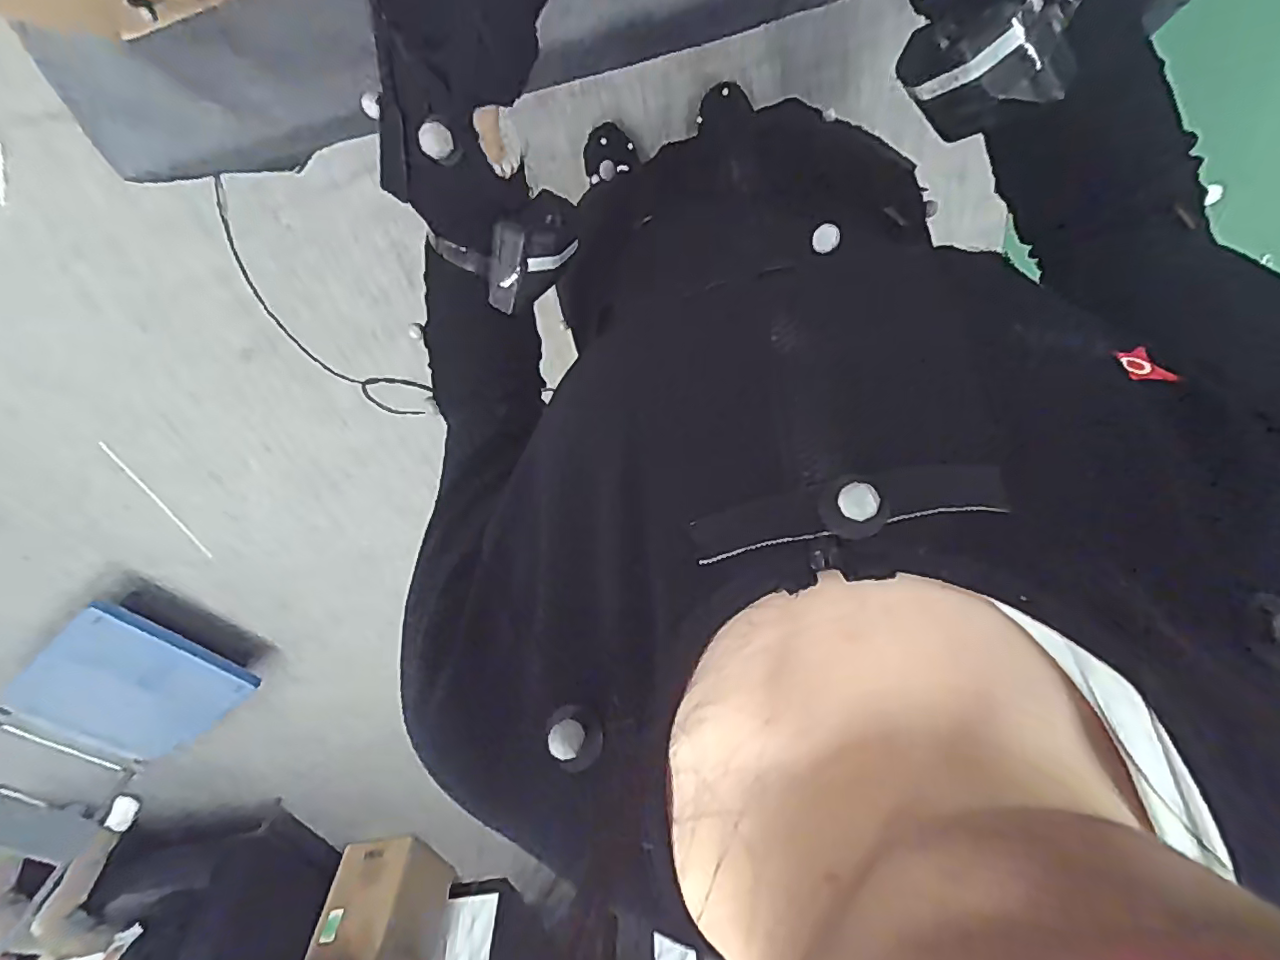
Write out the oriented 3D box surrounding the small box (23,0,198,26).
[{"bbox_3d":[-0.429,-0.463,0.381,0.168,0.176,0.179,-14,124,7],"label":"small box"}]
